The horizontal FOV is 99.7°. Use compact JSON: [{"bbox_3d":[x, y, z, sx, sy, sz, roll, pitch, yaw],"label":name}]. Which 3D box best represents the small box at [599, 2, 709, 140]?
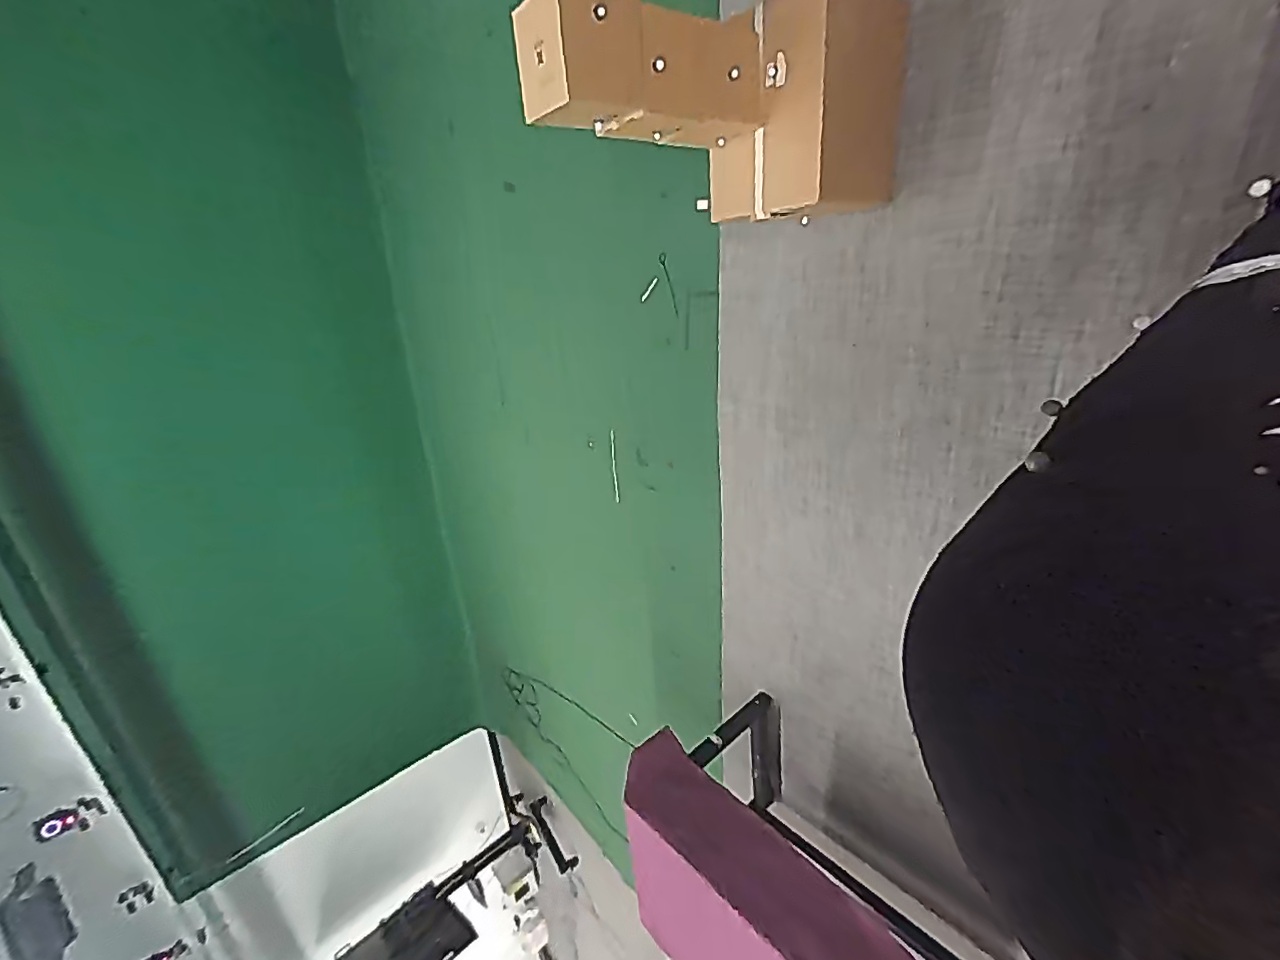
[{"bbox_3d":[0.024,-0.809,1.090,0.168,0.176,0.179,21,123,49],"label":"small box"}]

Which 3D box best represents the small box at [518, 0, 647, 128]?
[{"bbox_3d":[-0.101,-0.769,0.994,0.168,0.176,0.179,24,126,49],"label":"small box"}]

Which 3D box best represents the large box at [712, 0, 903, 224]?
[{"bbox_3d":[0.392,-0.851,1.289,0.320,0.320,0.408,19,120,47],"label":"large box"}]
